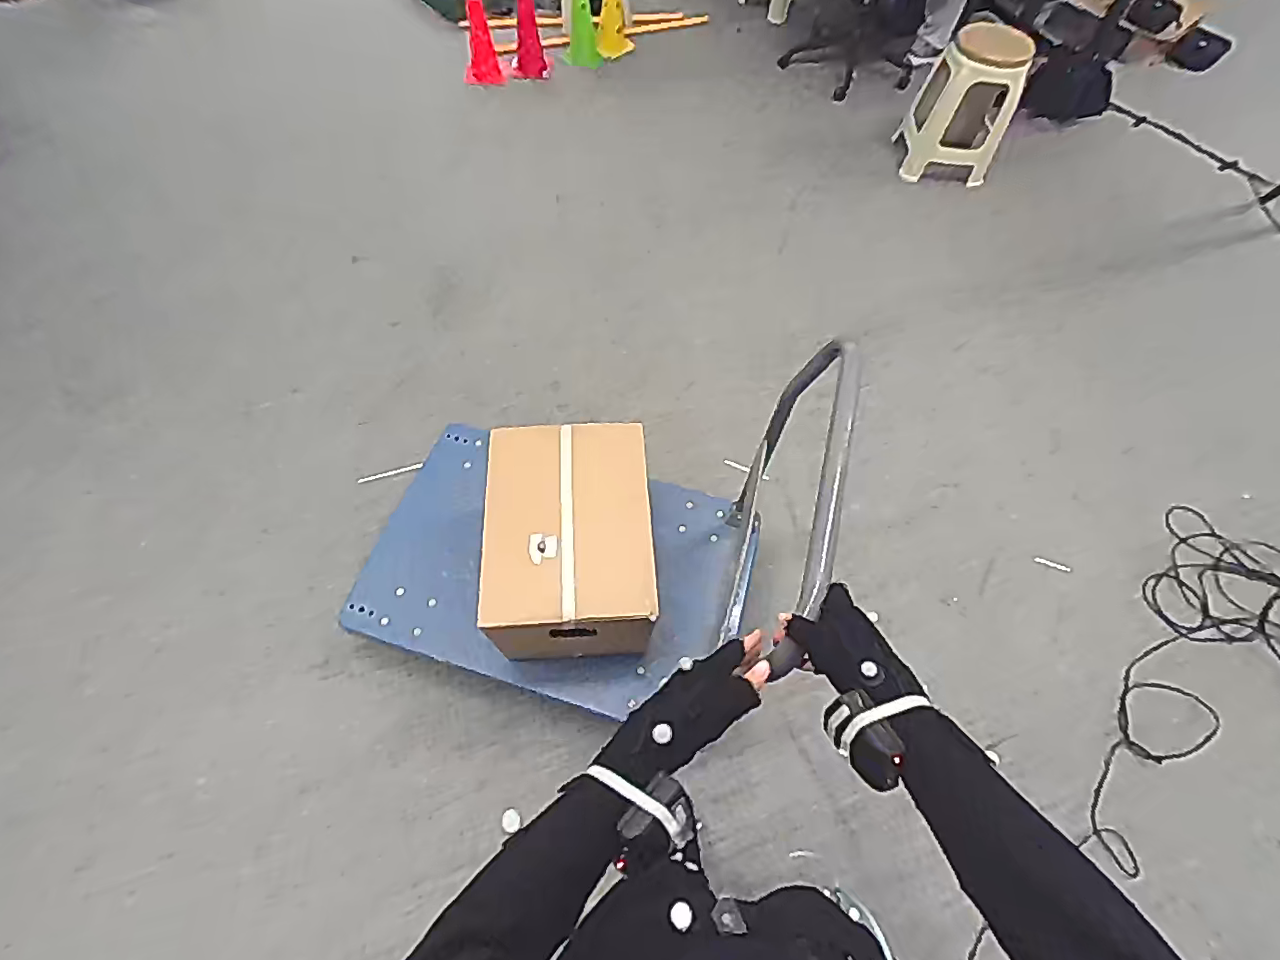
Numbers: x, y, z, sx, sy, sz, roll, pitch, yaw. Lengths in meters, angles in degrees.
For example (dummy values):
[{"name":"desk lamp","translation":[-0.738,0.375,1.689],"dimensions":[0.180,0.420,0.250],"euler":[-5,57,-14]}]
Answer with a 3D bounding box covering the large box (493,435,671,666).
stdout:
[{"name":"large box","translation":[-0.125,0.156,1.153],"dimensions":[0.320,0.320,0.408],"euler":[-3,62,-4]}]
